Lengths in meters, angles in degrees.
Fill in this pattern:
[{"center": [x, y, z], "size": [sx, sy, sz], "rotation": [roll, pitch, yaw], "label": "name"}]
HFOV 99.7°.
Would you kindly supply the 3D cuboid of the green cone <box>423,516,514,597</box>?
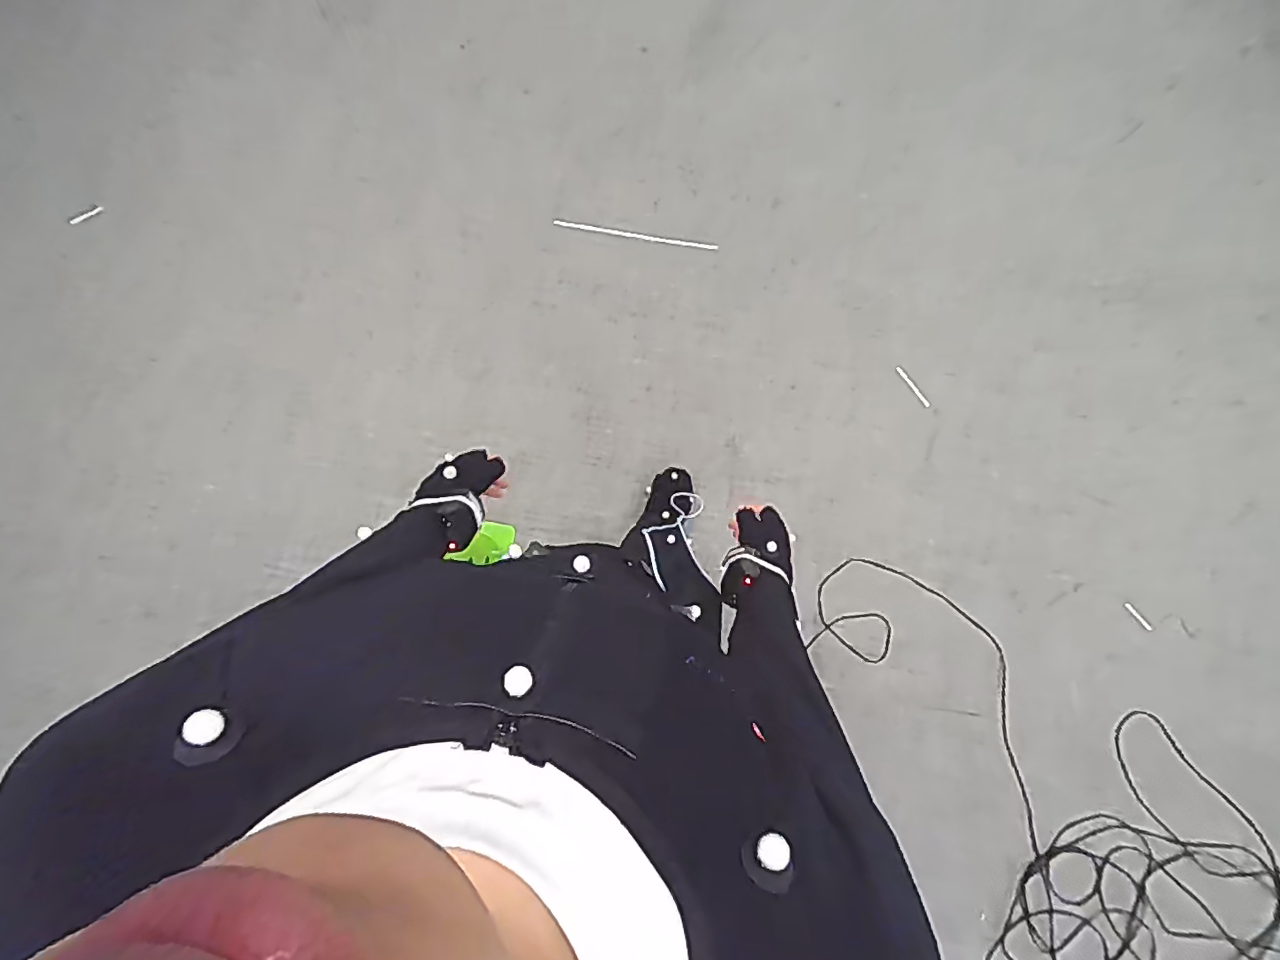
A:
[{"center": [-0.444, 0.192, 1.294], "size": [0.202, 0.368, 0.200], "rotation": [8, 85, -2], "label": "green cone"}]
